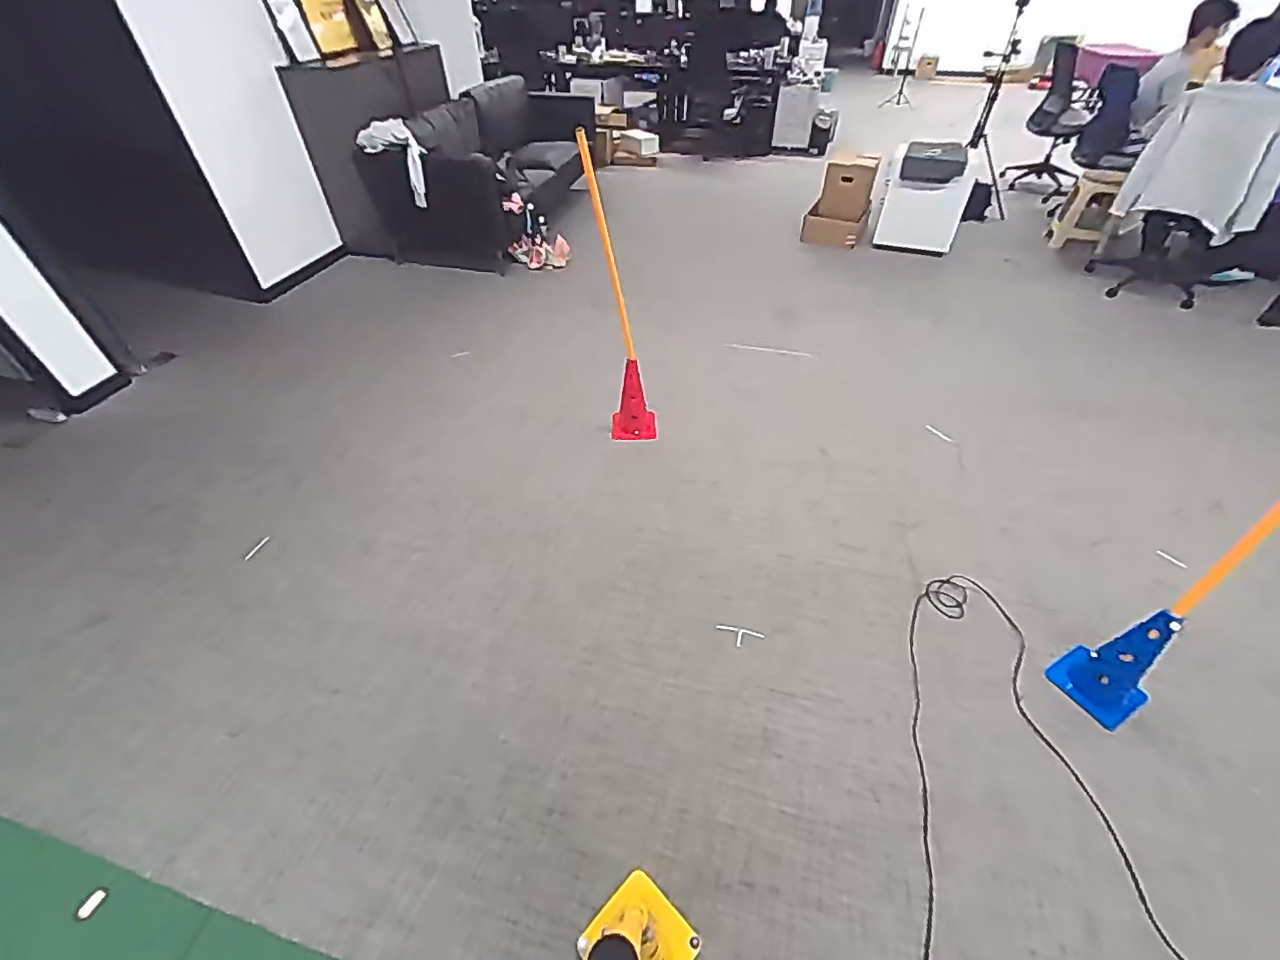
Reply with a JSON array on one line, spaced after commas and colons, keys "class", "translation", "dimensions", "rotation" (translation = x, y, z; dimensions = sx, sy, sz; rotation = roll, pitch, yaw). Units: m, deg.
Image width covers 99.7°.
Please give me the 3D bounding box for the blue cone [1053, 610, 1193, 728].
[{"class": "blue cone", "translation": [1.315, 0.466, 1.442], "dimensions": [0.193, 0.380, 0.192], "rotation": [-20, 46, -23]}]
